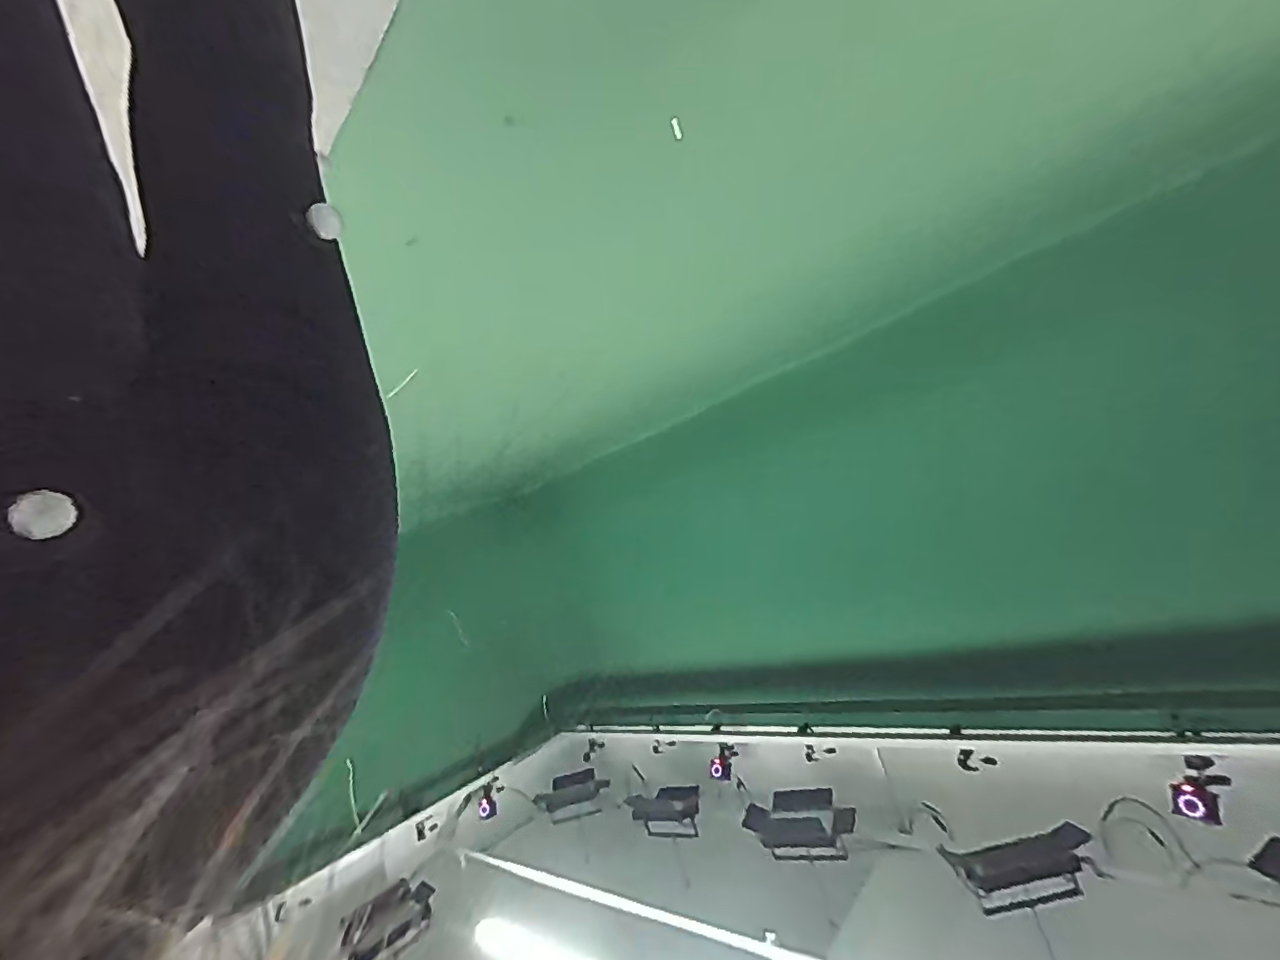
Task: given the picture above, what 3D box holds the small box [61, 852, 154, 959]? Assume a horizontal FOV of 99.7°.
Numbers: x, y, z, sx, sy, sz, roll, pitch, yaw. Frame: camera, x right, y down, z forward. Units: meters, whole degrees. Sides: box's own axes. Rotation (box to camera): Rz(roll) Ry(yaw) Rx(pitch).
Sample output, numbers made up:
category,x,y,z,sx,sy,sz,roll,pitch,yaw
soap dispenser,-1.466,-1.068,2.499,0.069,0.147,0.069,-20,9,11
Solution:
category,x,y,z,sx,sy,sz,roll,pitch,yaw
small box,-1.509,1.202,1.537,0.168,0.176,0.179,-8,169,-40
